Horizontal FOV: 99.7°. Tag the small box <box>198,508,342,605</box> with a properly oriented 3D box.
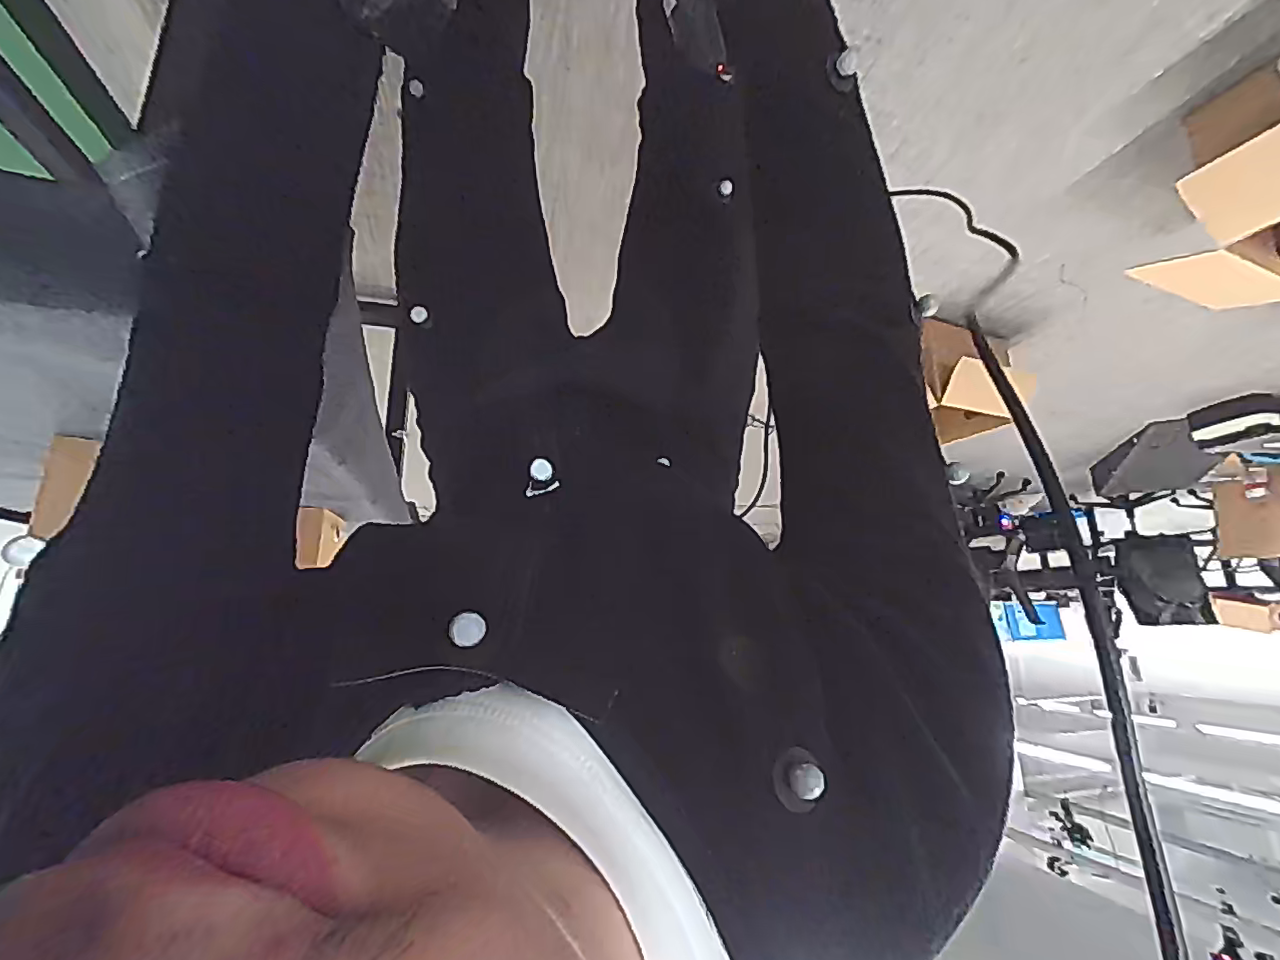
[{"bbox_3d":[-0.703,0.151,1.050,0.179,0.176,0.168,2,165,-14],"label":"small box"}]
